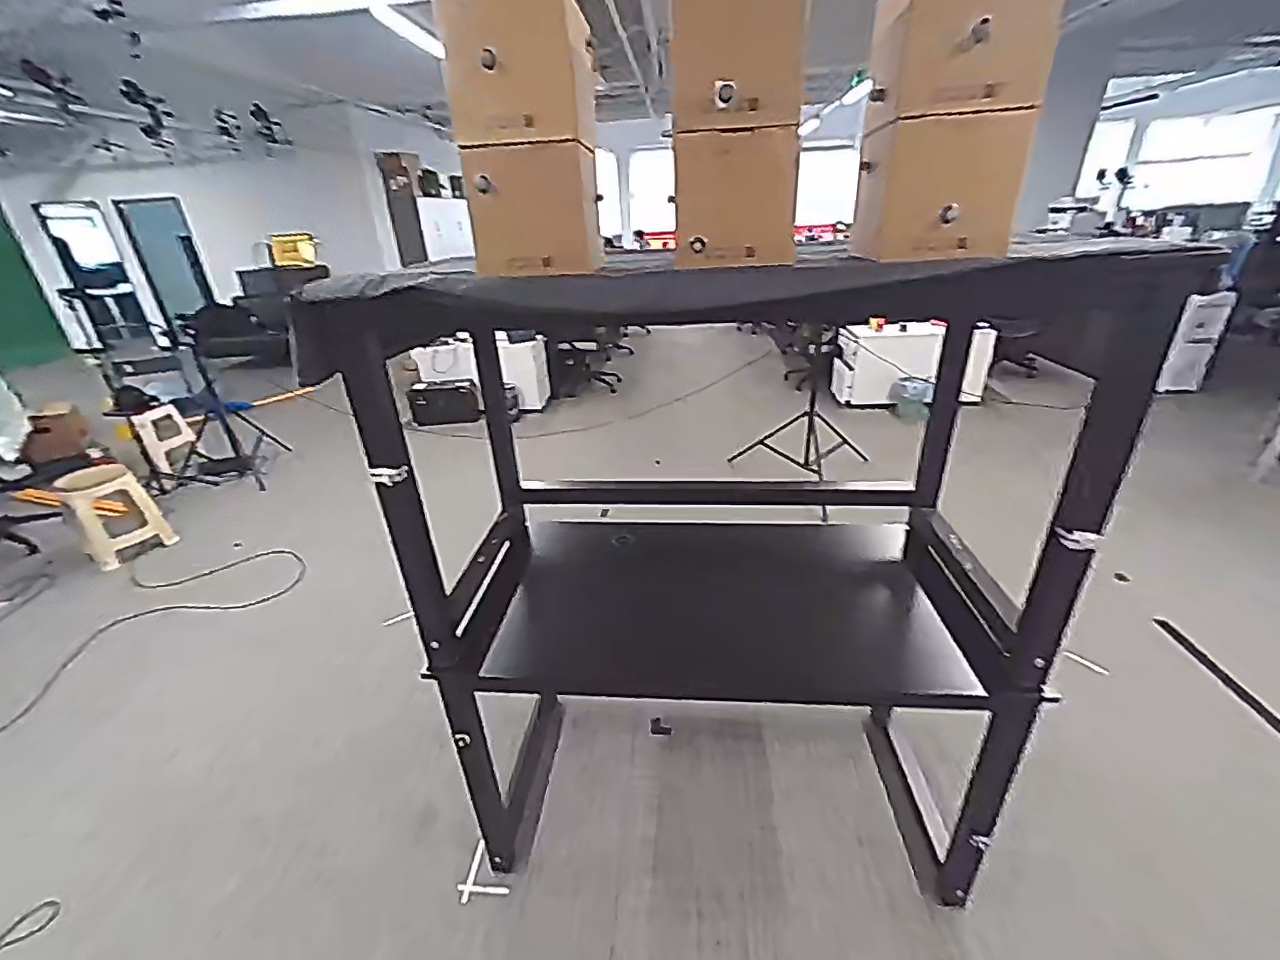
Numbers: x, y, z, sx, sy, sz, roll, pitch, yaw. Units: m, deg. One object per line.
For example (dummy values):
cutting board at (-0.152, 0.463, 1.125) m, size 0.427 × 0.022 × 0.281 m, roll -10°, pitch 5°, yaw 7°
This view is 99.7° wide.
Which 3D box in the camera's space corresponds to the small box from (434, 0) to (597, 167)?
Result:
small box at (-0.156, -0.547, 0.751) m, size 0.168 × 0.176 × 0.179 m, roll 0°, pitch 24°, yaw 6°

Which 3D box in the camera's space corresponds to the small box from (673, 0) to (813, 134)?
small box at (0.131, -0.552, 0.727) m, size 0.168 × 0.176 × 0.179 m, roll -1°, pitch 25°, yaw 7°

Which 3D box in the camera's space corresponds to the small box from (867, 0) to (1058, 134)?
small box at (0.403, -0.554, 0.694) m, size 0.168 × 0.176 × 0.179 m, roll 0°, pitch 26°, yaw 8°

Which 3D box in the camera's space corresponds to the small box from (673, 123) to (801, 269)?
small box at (0.137, -0.404, 0.793) m, size 0.168 × 0.176 × 0.179 m, roll 0°, pitch 24°, yaw 6°

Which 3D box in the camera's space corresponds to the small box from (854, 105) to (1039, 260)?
small box at (0.411, -0.406, 0.763) m, size 0.168 × 0.176 × 0.179 m, roll -1°, pitch 25°, yaw 8°
